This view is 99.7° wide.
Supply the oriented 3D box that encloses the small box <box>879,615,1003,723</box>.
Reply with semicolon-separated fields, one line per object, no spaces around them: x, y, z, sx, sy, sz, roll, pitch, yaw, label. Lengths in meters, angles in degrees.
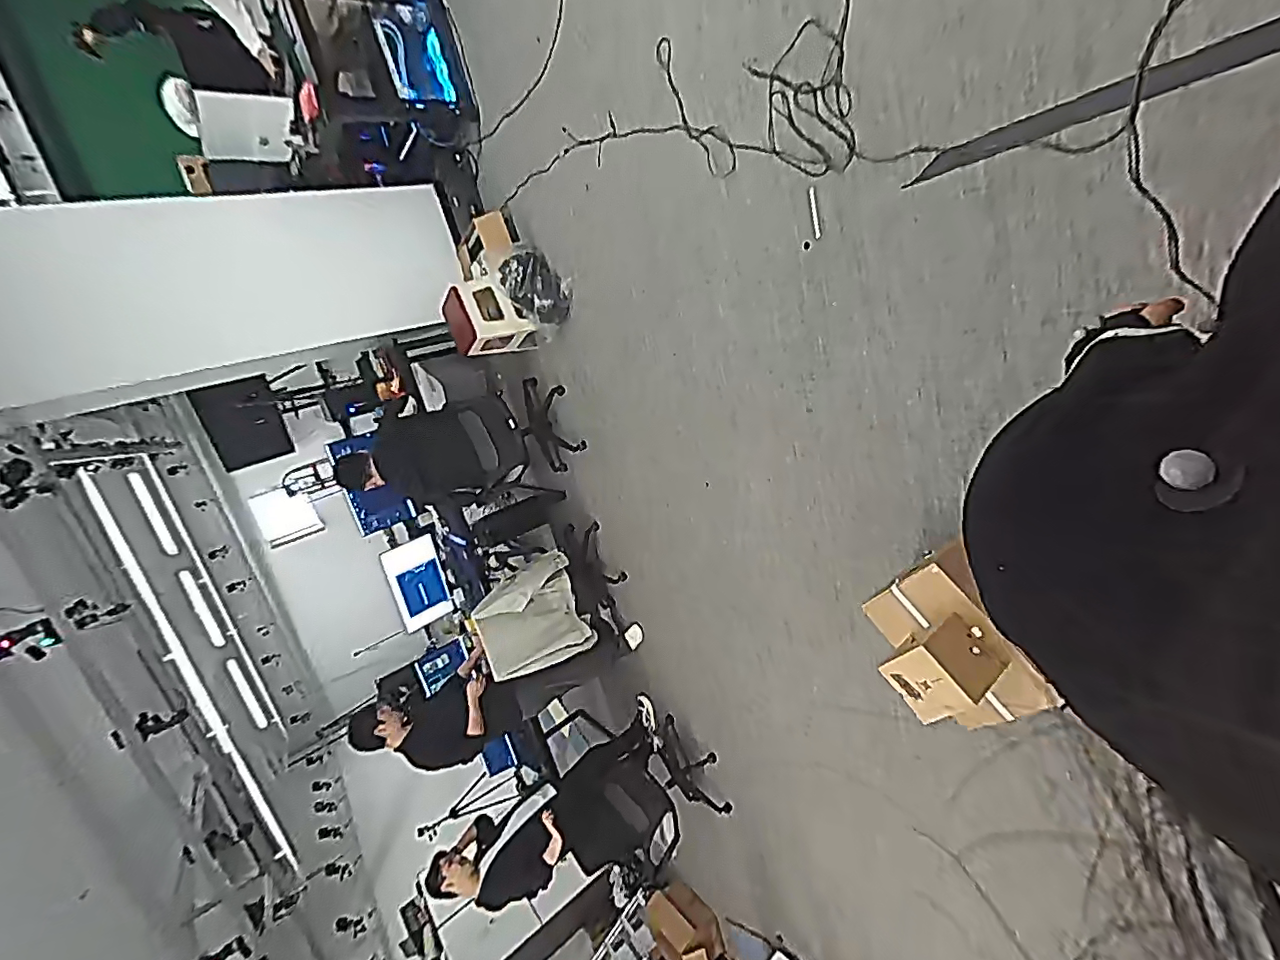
0.745;0.466;1.338;0.168;0.176;0.179;52;145;21;small box
